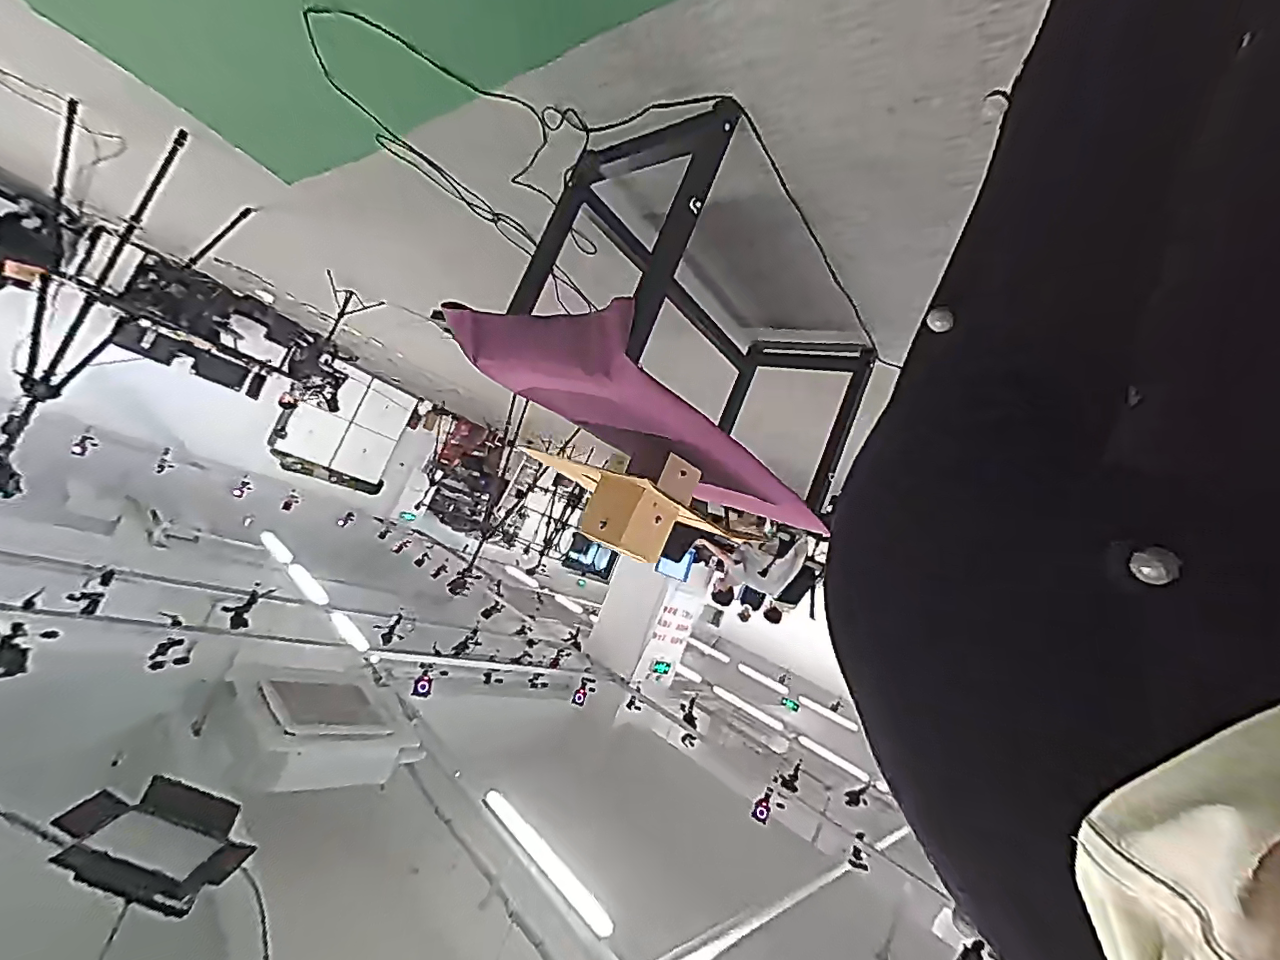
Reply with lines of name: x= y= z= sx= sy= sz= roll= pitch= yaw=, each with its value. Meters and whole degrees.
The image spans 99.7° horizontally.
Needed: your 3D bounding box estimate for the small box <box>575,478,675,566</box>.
small box: x=-0.037 y=0.107 z=1.455 sx=0.179 sy=0.176 sz=0.168 roll=14 pitch=167 yaw=44
